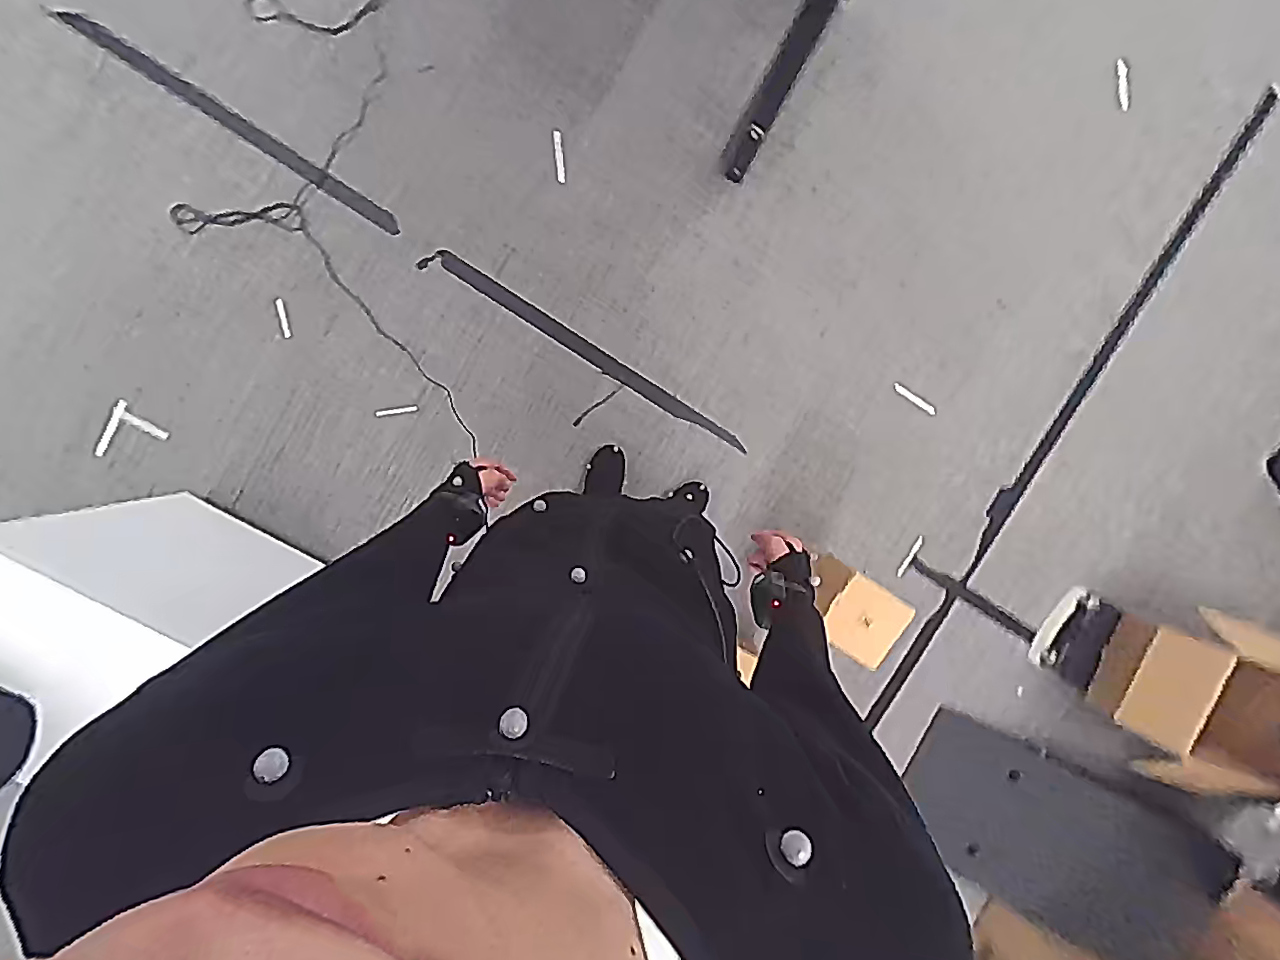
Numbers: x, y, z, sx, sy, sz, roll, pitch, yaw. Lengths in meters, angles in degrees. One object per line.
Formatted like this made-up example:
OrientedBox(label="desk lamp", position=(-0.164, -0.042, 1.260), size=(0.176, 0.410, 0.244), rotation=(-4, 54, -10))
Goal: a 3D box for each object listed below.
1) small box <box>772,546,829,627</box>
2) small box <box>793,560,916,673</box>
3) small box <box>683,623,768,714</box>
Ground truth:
OrientedBox(label="small box", position=(0.478, 0.298, 1.439), size=(0.168, 0.176, 0.179), rotation=(32, 95, -6))
OrientedBox(label="small box", position=(0.498, 0.312, 1.278), size=(0.179, 0.176, 0.168), rotation=(34, 94, -6))
OrientedBox(label="small box", position=(0.250, 0.557, 1.624), size=(0.179, 0.176, 0.168), rotation=(30, 93, -5))
